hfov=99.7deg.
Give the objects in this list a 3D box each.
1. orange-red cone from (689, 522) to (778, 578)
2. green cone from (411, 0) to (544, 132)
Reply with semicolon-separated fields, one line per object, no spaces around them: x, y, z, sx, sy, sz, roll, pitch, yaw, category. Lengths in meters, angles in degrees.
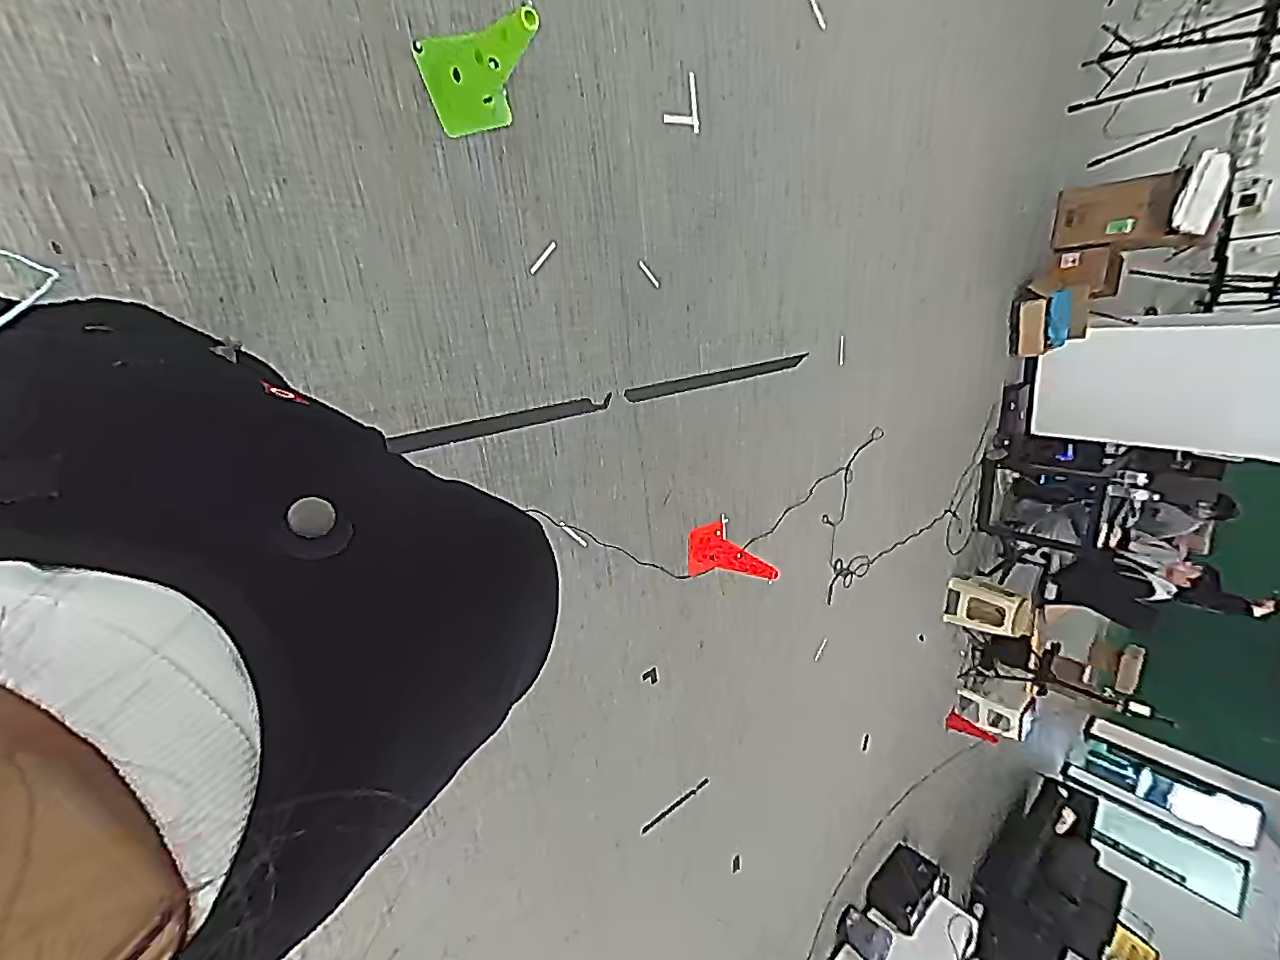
0.376;0.307;2.082;0.199;0.360;0.198;-10;106;-36;orange-red cone
-0.326;-0.951;1.201;0.202;0.368;0.200;-37;122;-29;green cone
